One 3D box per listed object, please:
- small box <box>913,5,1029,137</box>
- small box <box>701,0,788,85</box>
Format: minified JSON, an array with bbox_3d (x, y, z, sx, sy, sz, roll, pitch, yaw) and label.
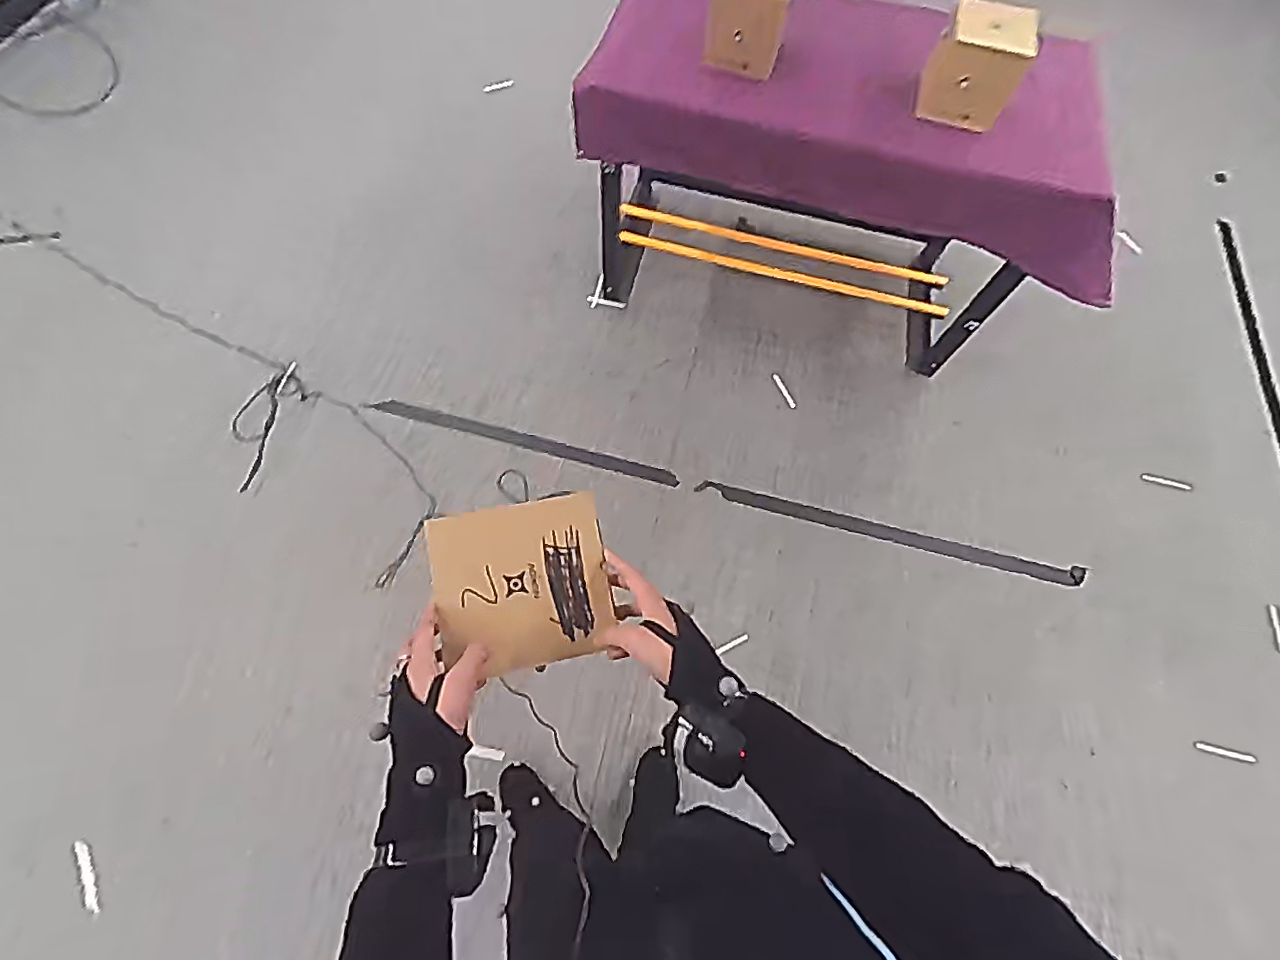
[{"bbox_3d":[0.745,-0.923,1.230,0.168,0.176,0.179,16,66,4],"label":"small box"},{"bbox_3d":[0.247,-1.070,1.261,0.168,0.176,0.179,16,67,3],"label":"small box"}]
